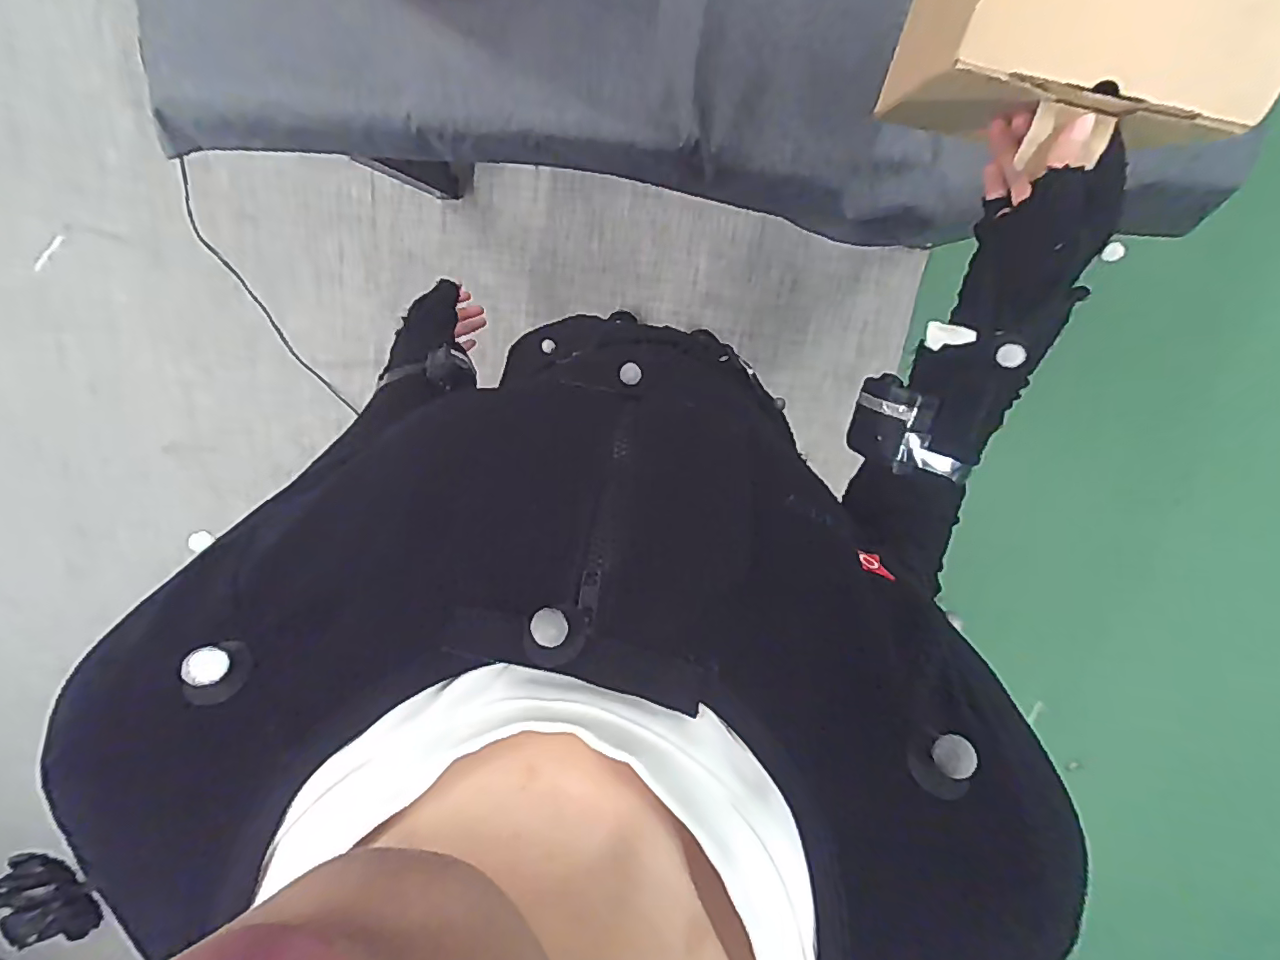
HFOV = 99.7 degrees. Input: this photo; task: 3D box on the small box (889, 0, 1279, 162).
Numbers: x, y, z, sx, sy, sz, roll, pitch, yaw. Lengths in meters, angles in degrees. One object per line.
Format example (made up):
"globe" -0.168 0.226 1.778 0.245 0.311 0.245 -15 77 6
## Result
"small box" 0.276 -0.311 0.329 0.168 0.176 0.179 14 117 1
